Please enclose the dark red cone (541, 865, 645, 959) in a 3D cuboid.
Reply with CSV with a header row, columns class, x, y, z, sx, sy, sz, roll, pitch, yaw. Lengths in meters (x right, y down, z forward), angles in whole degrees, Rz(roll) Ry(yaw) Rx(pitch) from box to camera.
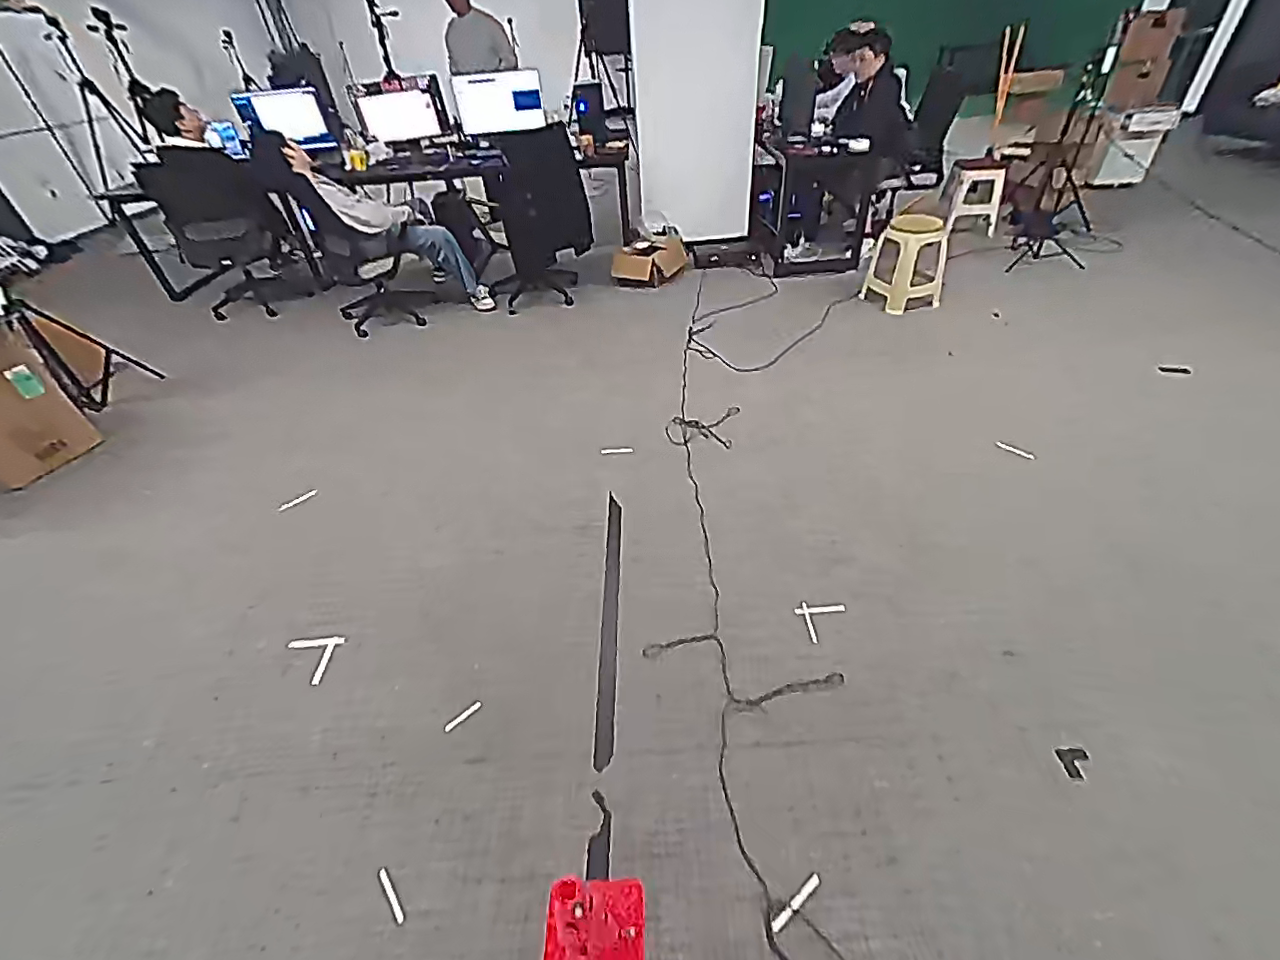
class,x,y,z,sx,sy,sz,roll,pitch,yaw
dark red cone,-0.099,0.771,0.955,0.201,0.394,0.202,-3,39,1
